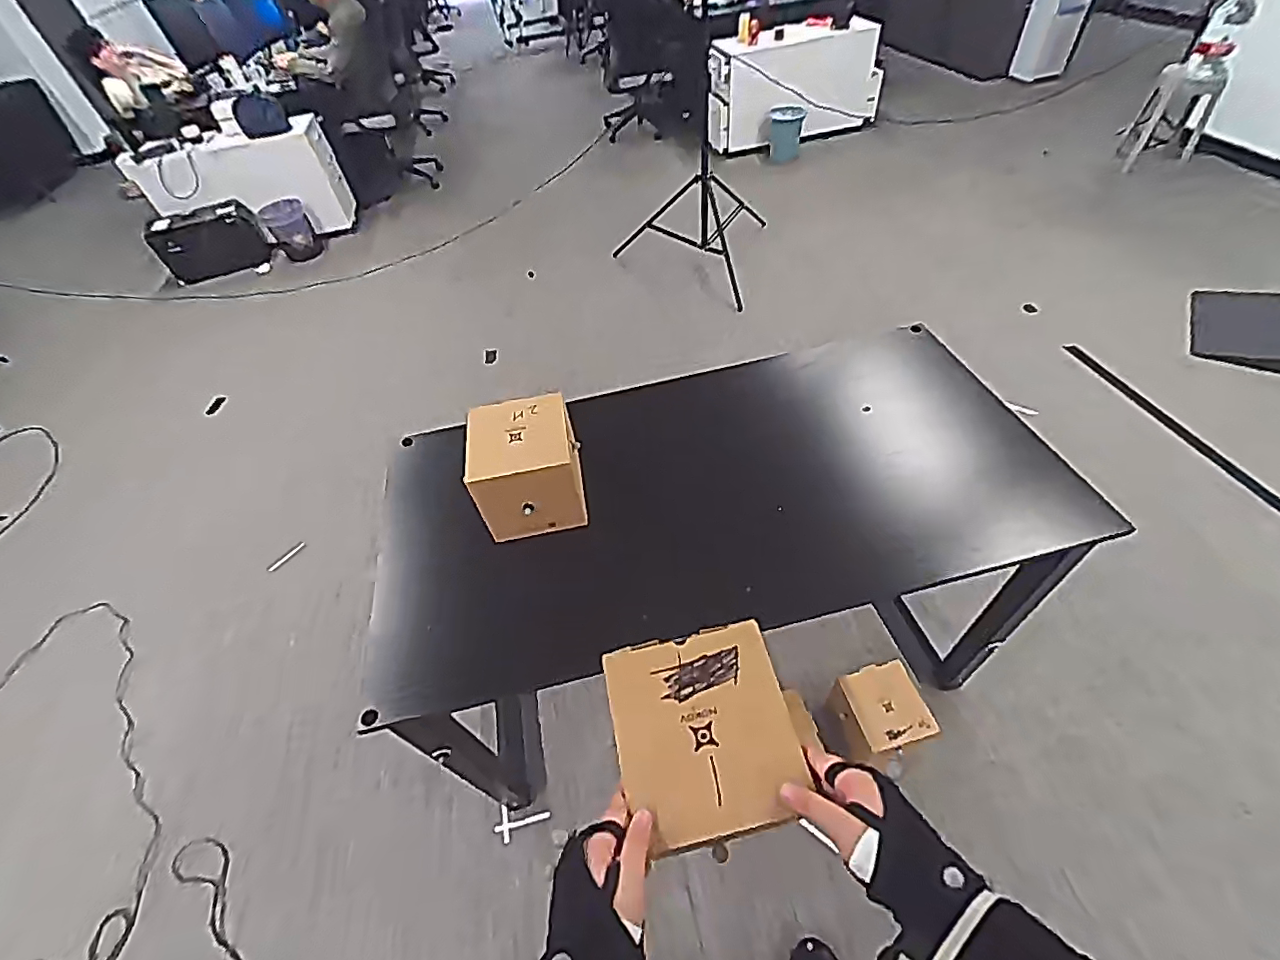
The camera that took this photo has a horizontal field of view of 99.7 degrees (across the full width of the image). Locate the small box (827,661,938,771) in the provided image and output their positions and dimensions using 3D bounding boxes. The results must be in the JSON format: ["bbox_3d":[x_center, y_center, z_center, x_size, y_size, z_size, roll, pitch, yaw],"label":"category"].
[{"bbox_3d":[0.573,0.572,1.307,0.168,0.176,0.179,-15,49,-4],"label":"small box"}]

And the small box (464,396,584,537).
[{"bbox_3d":[-0.197,-0.017,0.950,0.168,0.176,0.179,-11,49,-3],"label":"small box"}]

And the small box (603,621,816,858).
[{"bbox_3d":[0.061,0.276,0.570,0.168,0.176,0.179,-12,54,-4],"label":"small box"}]

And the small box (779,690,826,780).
[{"bbox_3d":[0.317,0.631,1.292,0.179,0.176,0.168,-14,48,-4],"label":"small box"}]
